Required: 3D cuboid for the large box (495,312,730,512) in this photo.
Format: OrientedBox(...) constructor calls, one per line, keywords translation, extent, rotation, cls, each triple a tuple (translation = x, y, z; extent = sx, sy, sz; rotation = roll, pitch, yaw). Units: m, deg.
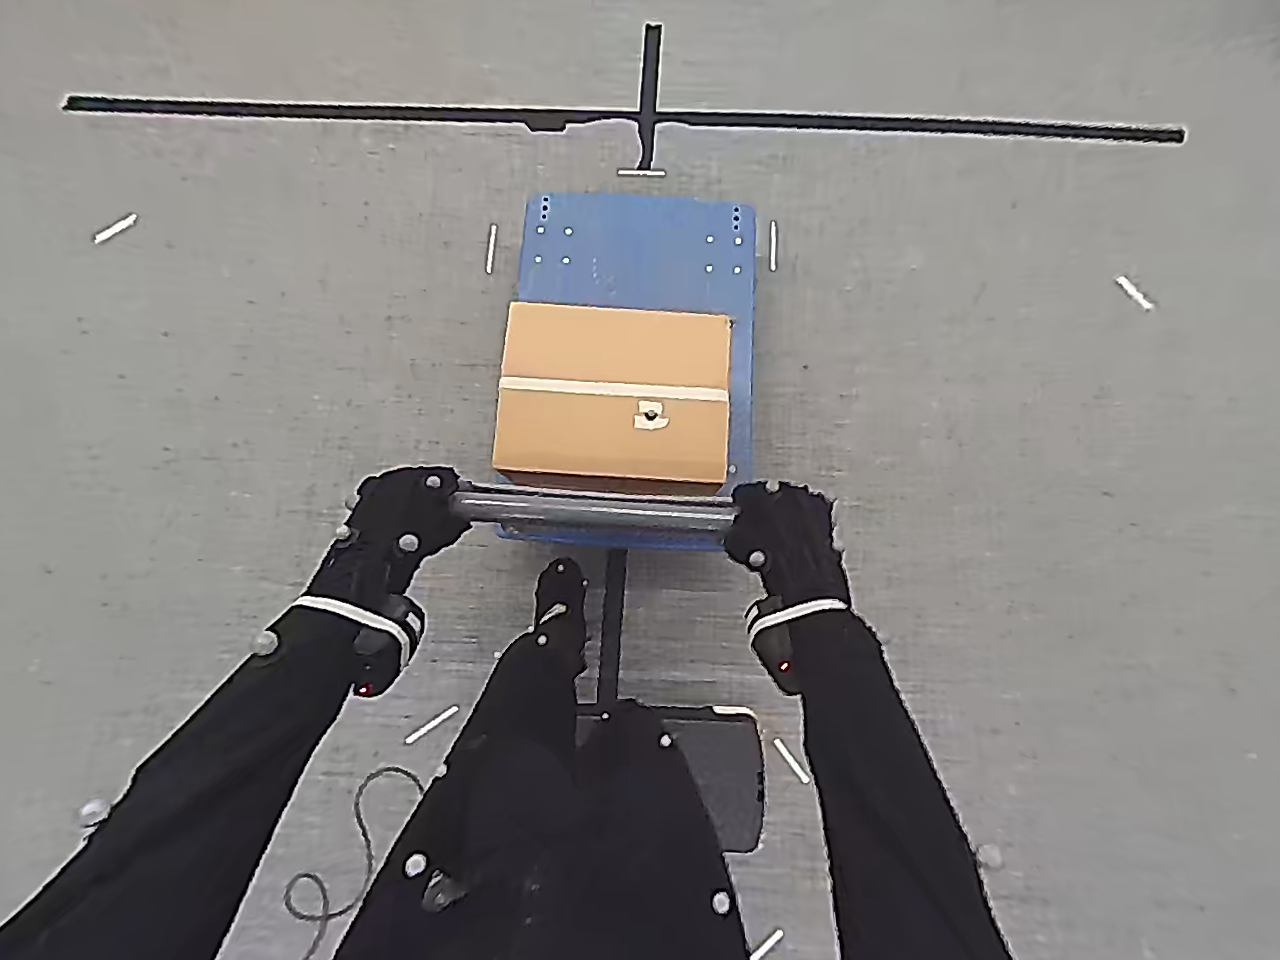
OrientedBox(translation=(-0.049, -0.115, 1.093), extent=(0.408, 0.320, 0.320), rotation=(4, 80, -1), cls="large box")
